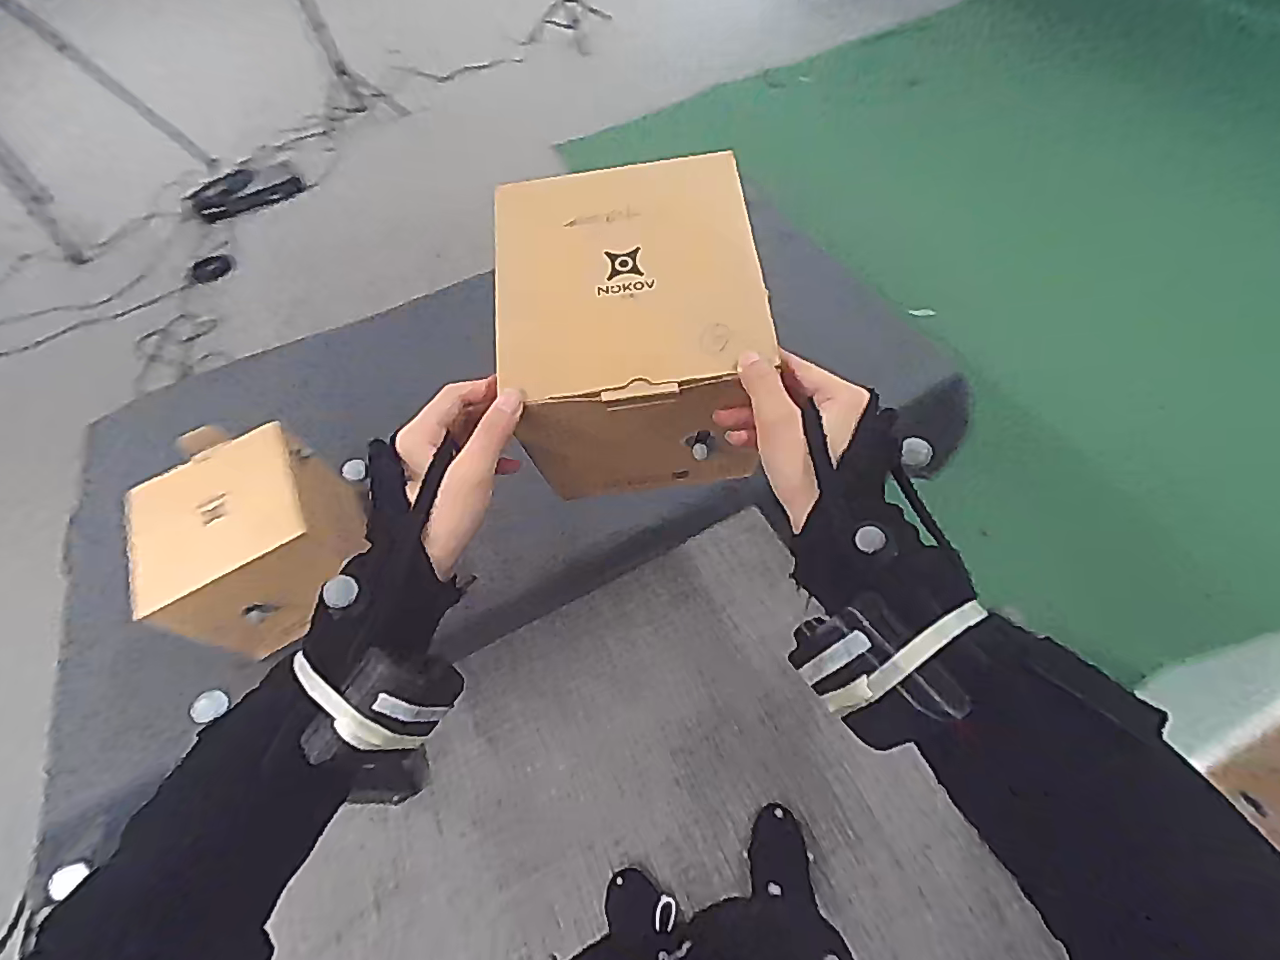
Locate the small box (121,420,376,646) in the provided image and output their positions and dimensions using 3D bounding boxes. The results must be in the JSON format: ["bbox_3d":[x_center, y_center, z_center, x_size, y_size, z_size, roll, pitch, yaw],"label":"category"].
[{"bbox_3d":[-0.438,0.071,0.625,0.168,0.176,0.179,-30,59,-12],"label":"small box"}]
